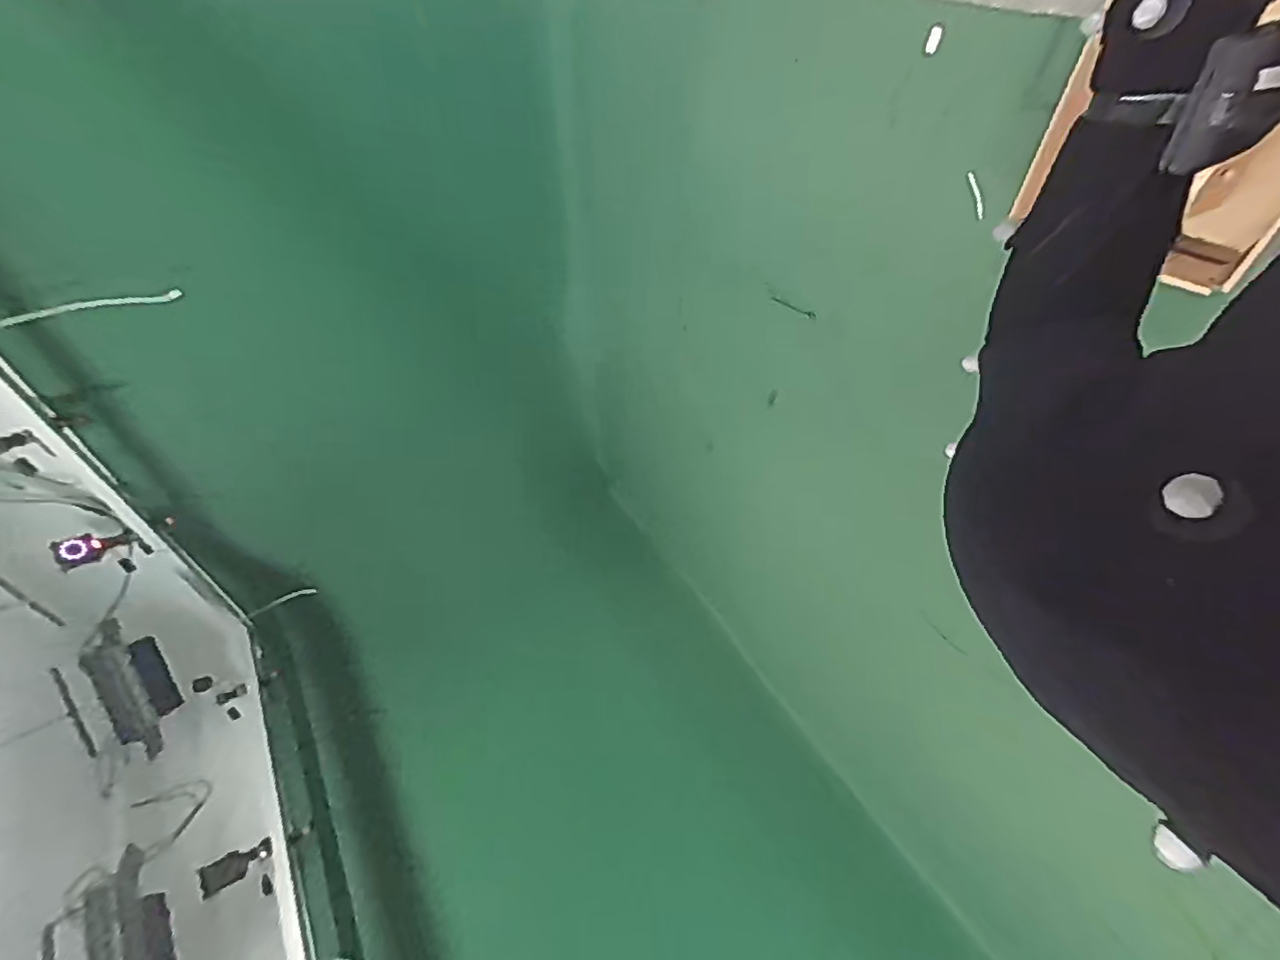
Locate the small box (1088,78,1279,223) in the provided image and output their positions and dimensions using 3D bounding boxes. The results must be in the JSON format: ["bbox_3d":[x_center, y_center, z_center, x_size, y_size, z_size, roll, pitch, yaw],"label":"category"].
[{"bbox_3d":[0.950,-0.574,0.936,0.168,0.176,0.179,49,151,37],"label":"small box"}]
